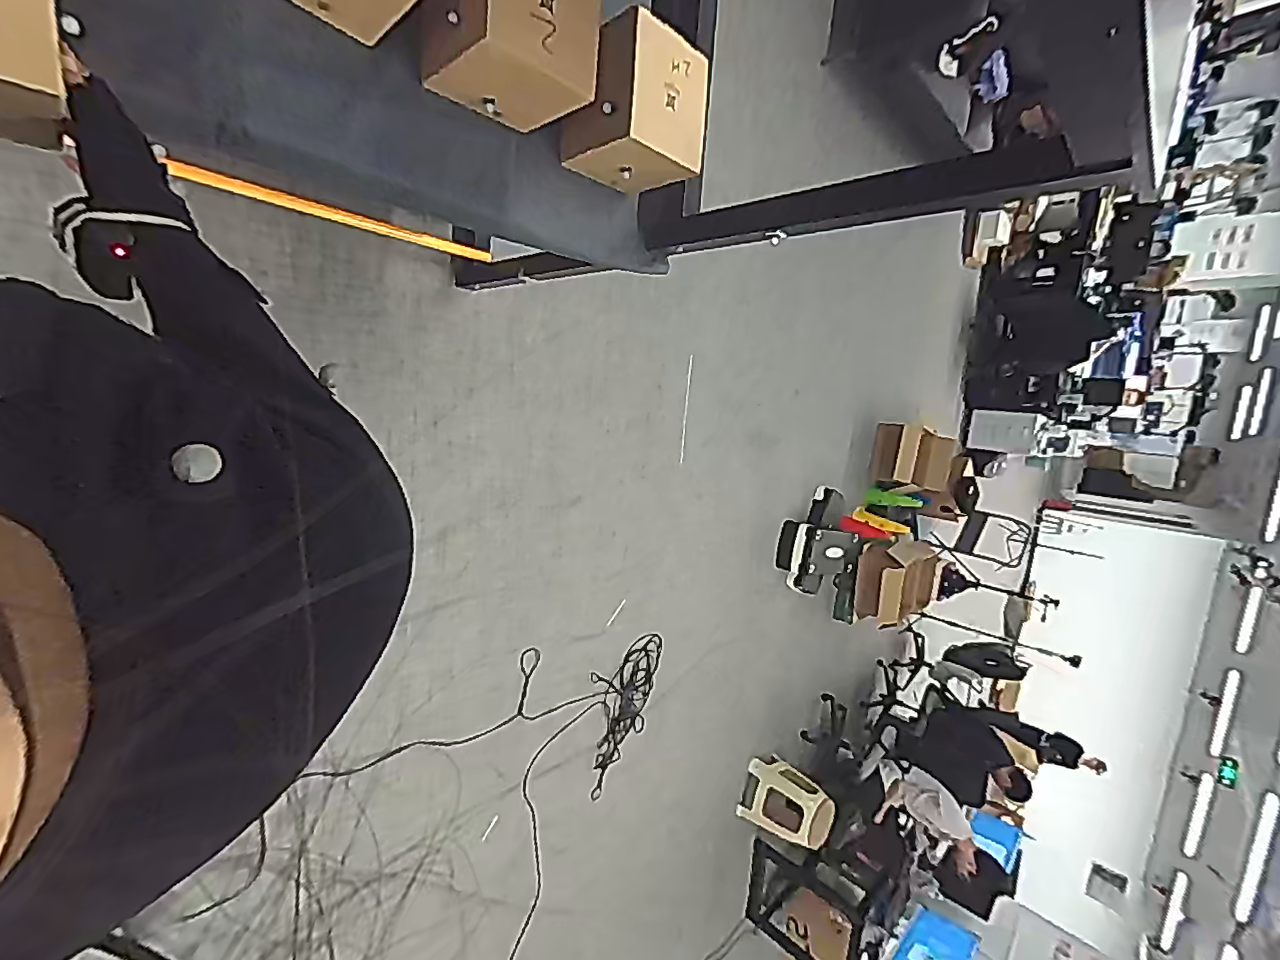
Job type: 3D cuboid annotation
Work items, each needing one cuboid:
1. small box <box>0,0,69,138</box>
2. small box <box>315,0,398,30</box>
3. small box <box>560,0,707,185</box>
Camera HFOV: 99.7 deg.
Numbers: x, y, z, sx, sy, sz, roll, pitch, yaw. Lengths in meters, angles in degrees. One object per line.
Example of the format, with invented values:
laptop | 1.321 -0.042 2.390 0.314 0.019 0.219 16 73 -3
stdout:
small box | -0.532 -0.379 0.379 0.168 0.176 0.179 -7 106 -46
small box | -0.321 -0.620 0.551 0.168 0.176 0.179 2 98 -47
small box | -0.015 -0.606 0.877 0.168 0.176 0.179 -6 104 -46
